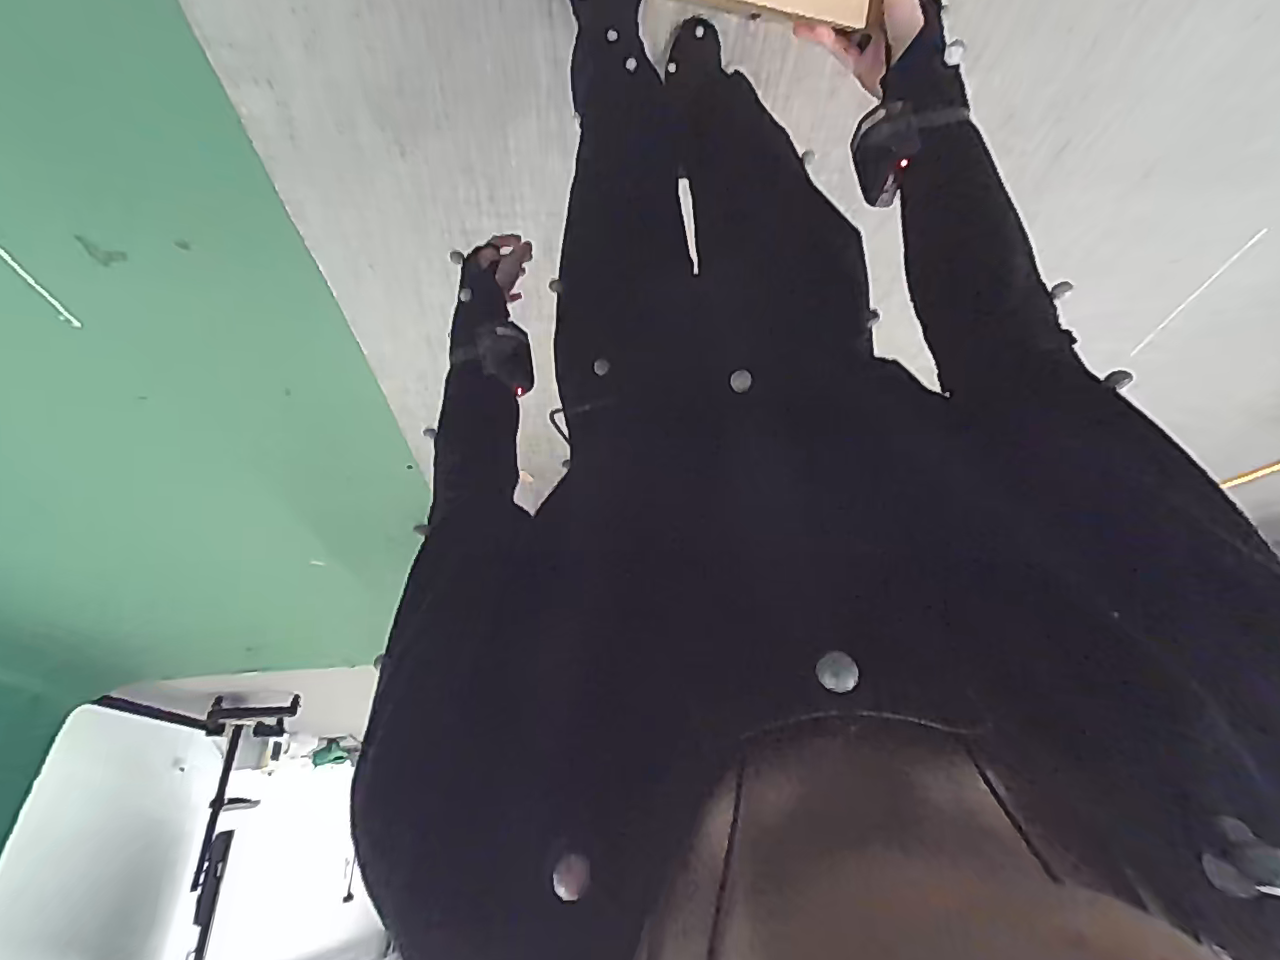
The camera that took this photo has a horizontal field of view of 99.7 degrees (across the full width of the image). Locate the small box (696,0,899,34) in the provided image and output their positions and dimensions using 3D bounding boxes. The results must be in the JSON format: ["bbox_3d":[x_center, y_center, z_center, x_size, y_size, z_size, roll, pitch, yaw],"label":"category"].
[{"bbox_3d":[0.127,-0.497,0.444,0.168,0.176,0.179,-5,131,-20],"label":"small box"}]
